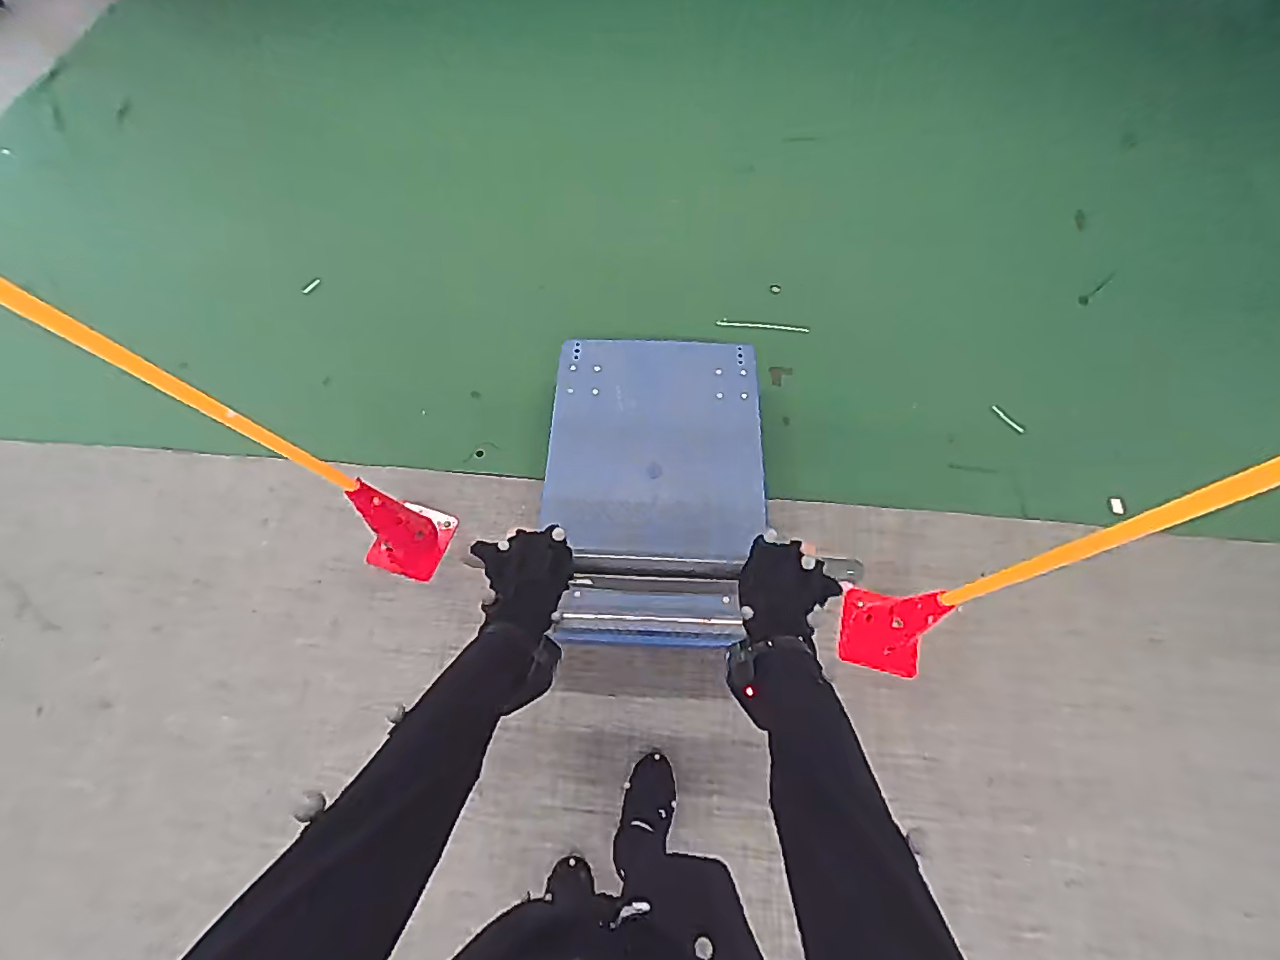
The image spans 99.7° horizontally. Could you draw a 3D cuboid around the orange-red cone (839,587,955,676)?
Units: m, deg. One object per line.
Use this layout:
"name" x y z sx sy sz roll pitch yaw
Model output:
"orange-red cone" 0.626 0.317 1.256 0.198 0.360 0.199 15 66 8
